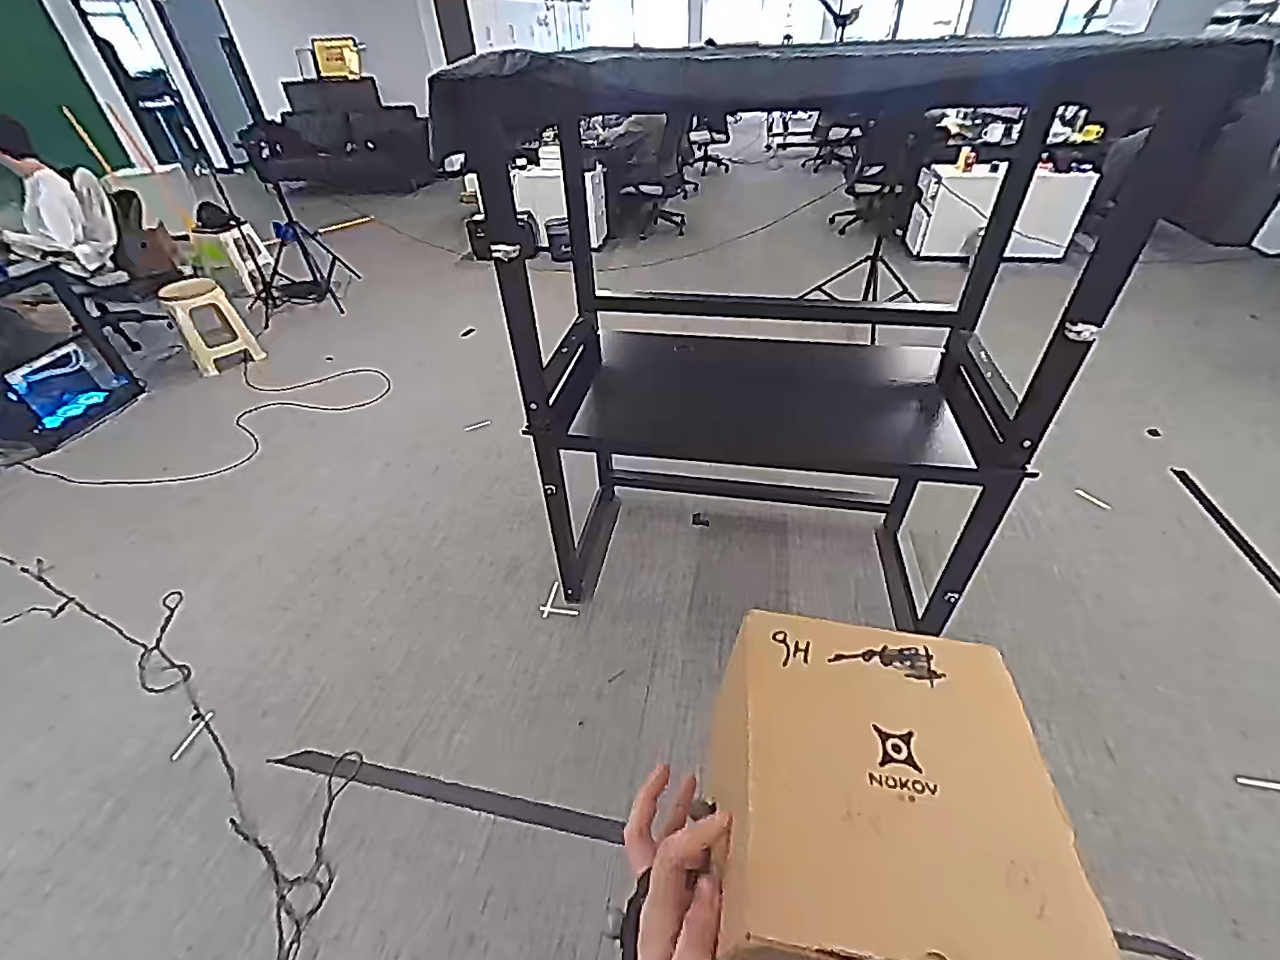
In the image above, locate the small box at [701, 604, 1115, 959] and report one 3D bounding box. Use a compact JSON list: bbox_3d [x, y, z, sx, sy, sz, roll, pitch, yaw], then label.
[{"bbox_3d":[0.133,0.209,0.345,0.168,0.176,0.179,8,44,4],"label":"small box"}]
